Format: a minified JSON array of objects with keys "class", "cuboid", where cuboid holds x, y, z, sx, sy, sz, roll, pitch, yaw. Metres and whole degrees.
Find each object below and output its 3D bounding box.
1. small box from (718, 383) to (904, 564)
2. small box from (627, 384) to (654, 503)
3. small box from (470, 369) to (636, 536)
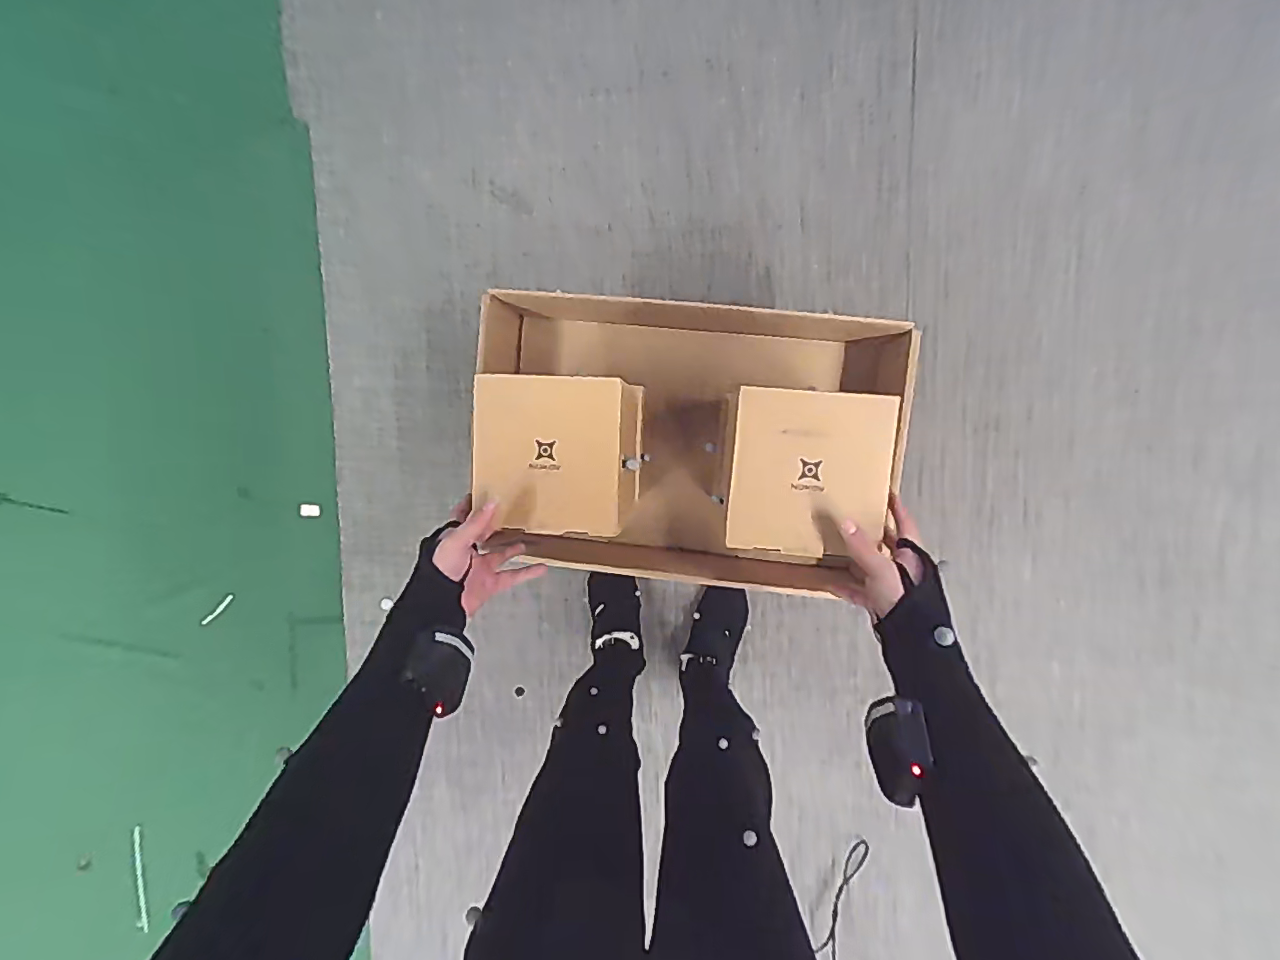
[{"class":"small box","cuboid":[0.185,-0.013,0.637,0.168,0.176,0.179,6,94,4]},{"class":"small box","cuboid":[-0.076,-0.060,0.825,0.179,0.176,0.168,4,95,5]},{"class":"small box","cuboid":[-0.096,-0.036,0.664,0.168,0.176,0.179,3,95,5]}]
